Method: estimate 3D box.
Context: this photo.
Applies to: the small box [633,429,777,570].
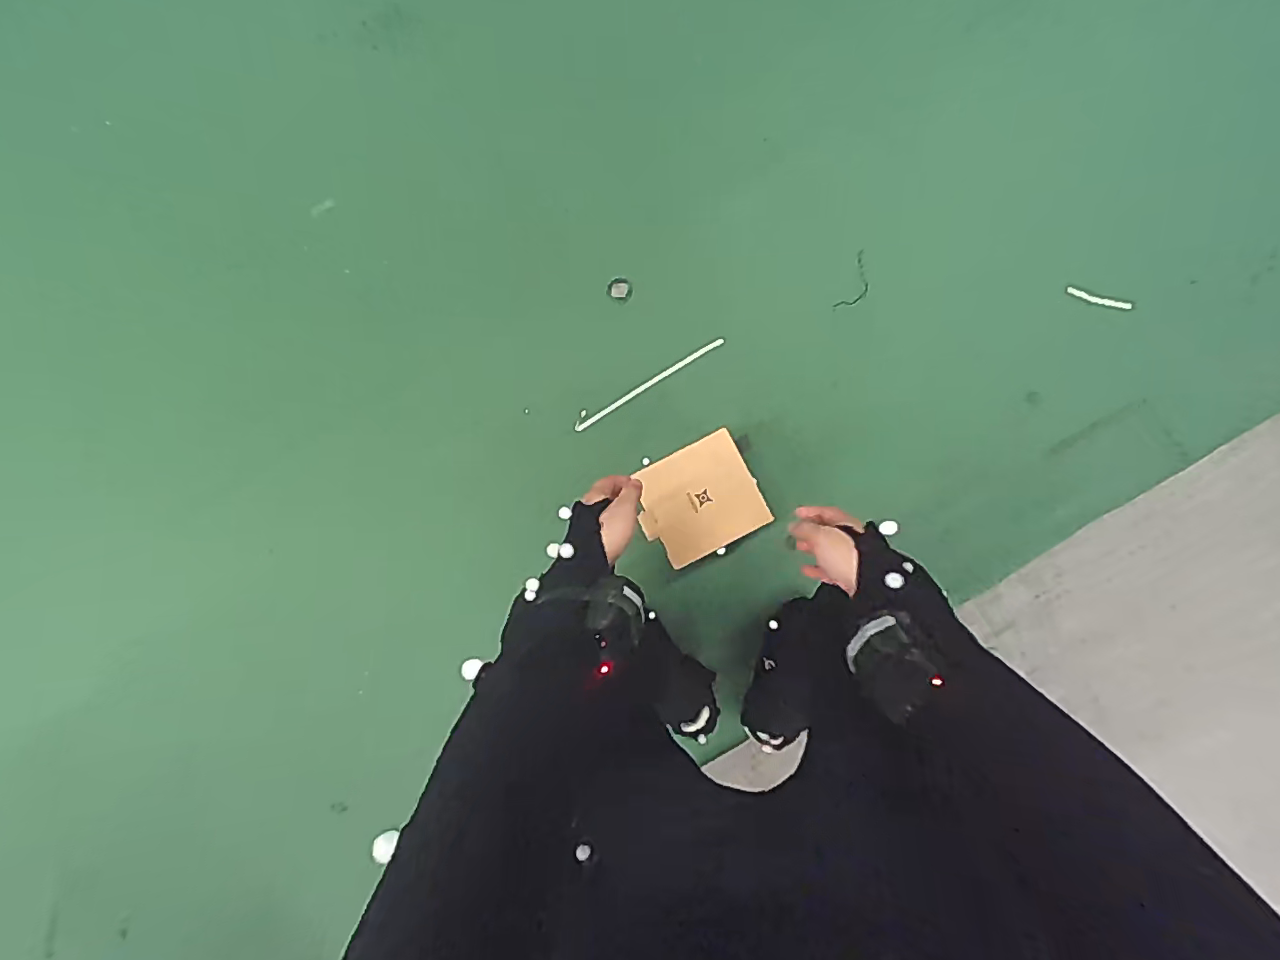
[{"bbox_3d":[0.100,0.027,0.911,0.179,0.176,0.168,-28,91,2],"label":"small box"}]
